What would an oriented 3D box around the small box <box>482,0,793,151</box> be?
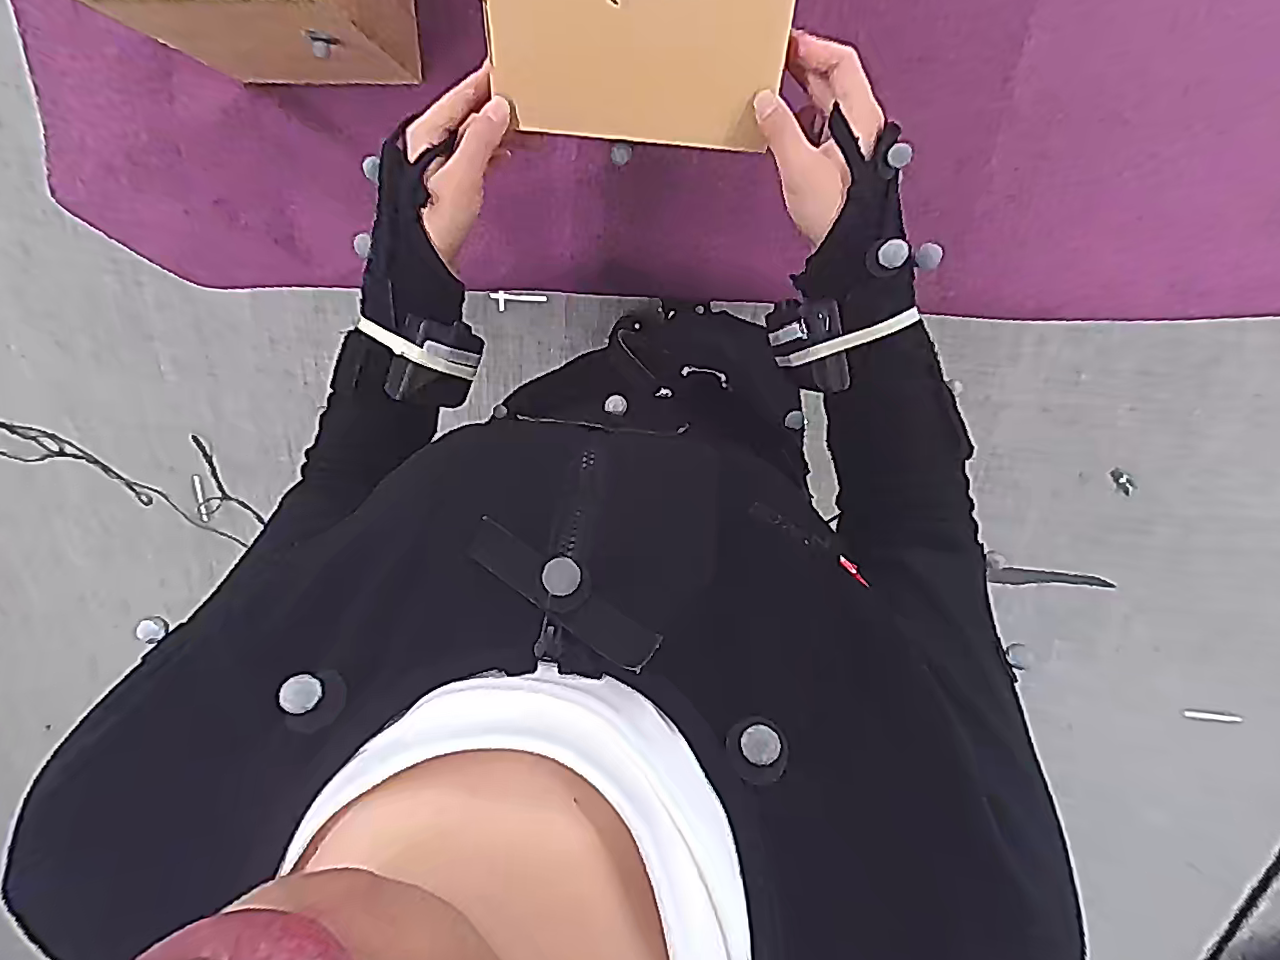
[{"bbox_3d":[0.003,-0.326,0.354,0.179,0.176,0.168,6,125,0],"label":"small box"}]
